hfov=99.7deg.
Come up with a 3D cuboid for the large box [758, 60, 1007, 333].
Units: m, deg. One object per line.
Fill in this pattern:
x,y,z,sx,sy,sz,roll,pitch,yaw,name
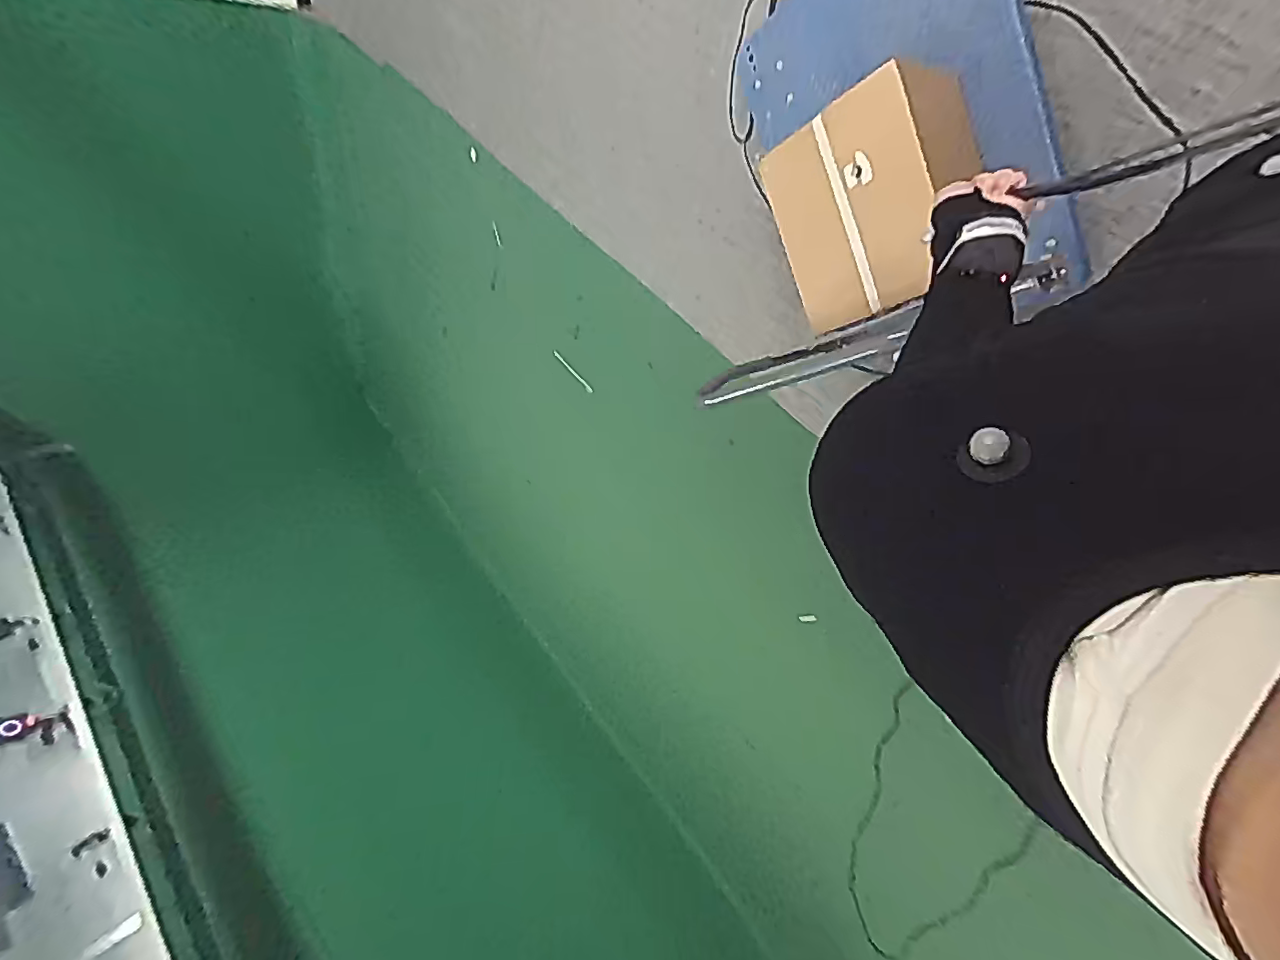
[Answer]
0.526,-0.583,1.171,0.320,0.320,0.408,-12,101,51,large box
